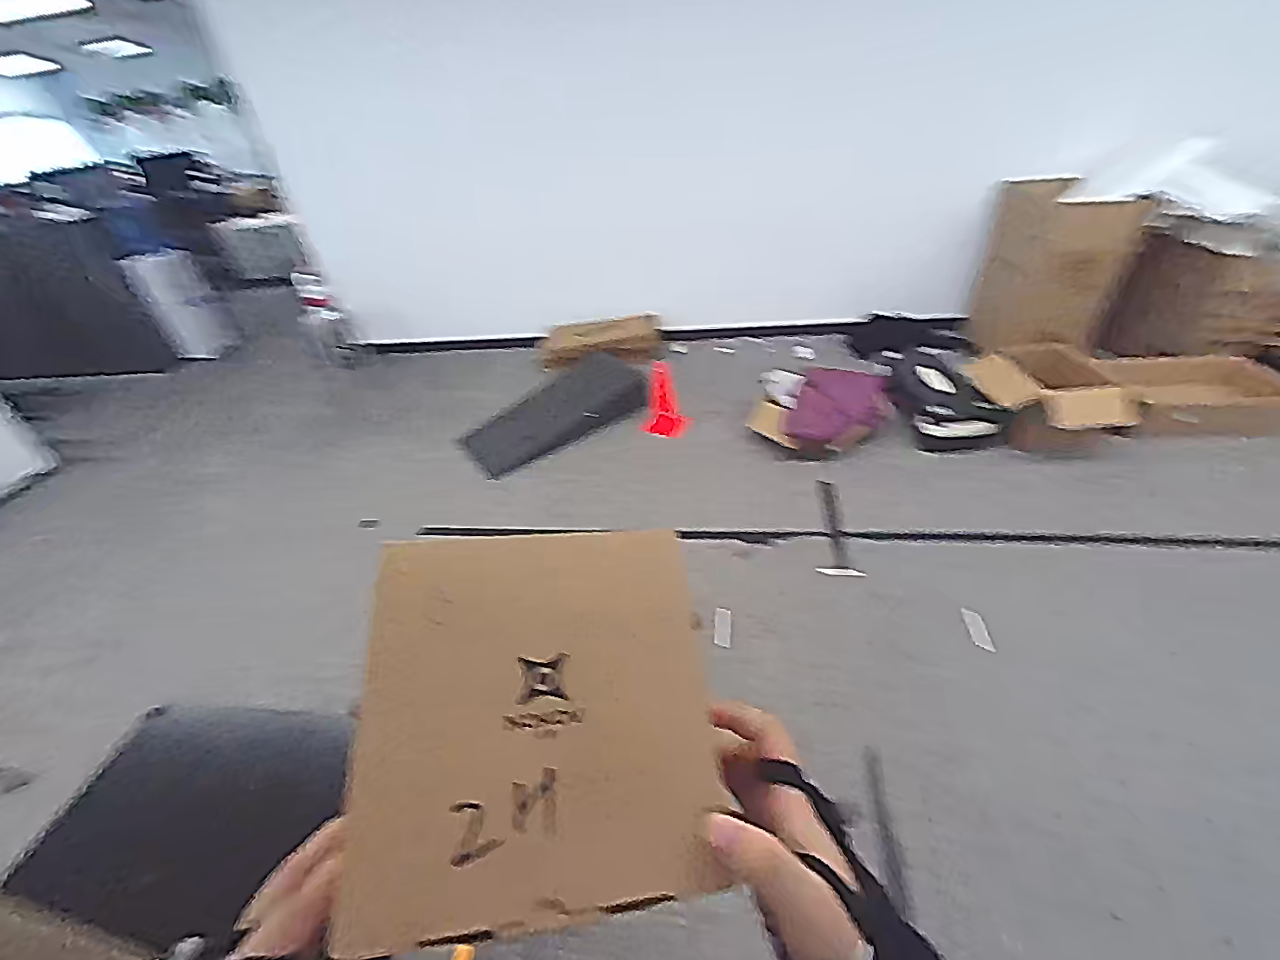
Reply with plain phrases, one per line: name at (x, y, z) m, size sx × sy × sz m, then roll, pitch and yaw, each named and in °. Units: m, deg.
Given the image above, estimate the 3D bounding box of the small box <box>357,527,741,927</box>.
small box at (-0.055, 0.145, 0.339) m, size 0.168 × 0.176 × 0.179 m, roll -1°, pitch 60°, yaw -10°
